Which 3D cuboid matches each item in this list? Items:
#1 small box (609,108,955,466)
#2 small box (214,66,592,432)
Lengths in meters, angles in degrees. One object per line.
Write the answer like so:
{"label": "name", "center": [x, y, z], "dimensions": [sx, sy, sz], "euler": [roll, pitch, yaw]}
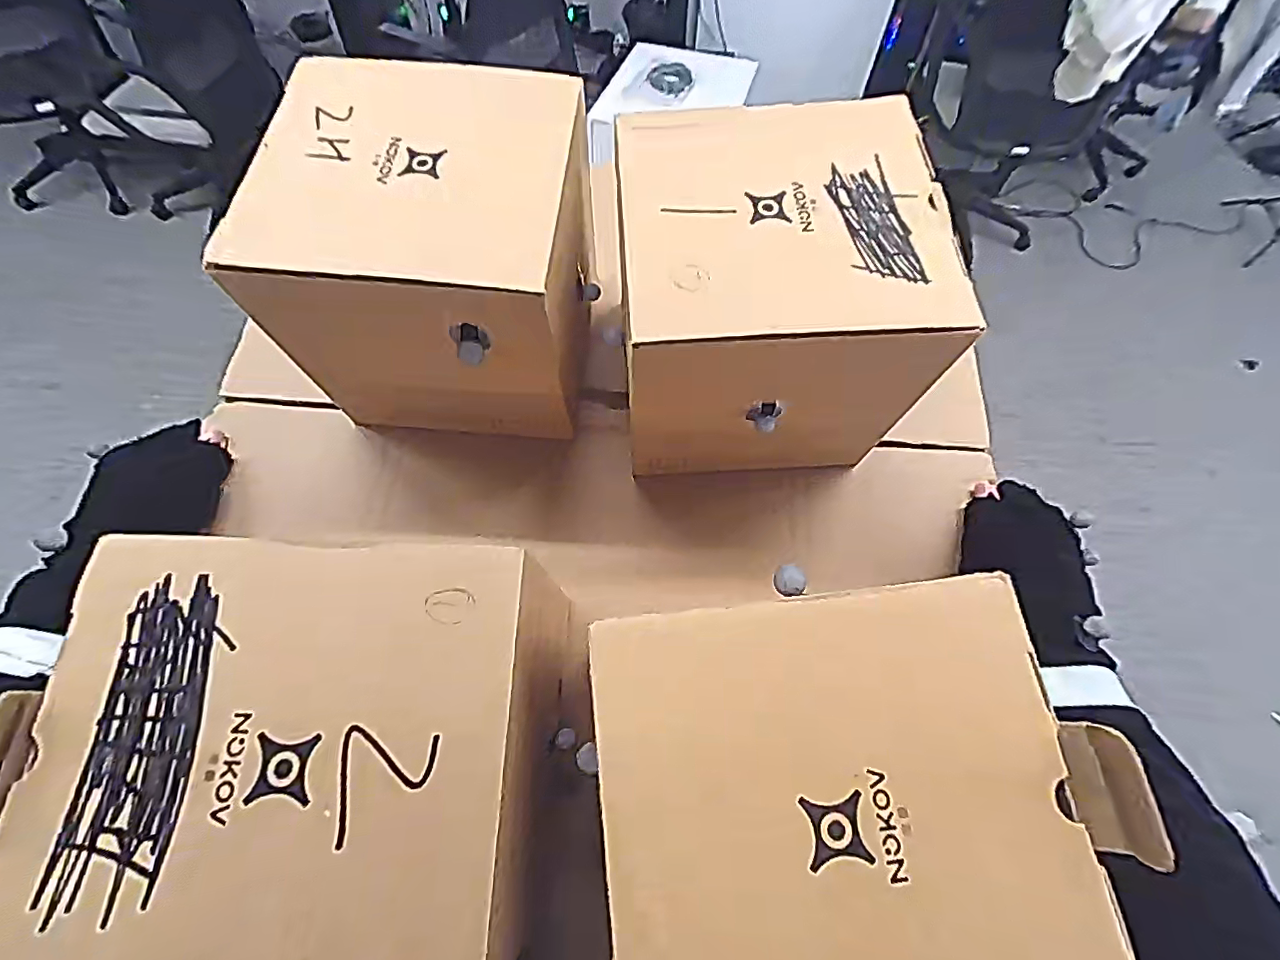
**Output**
{"label": "small box", "center": [0.071, -0.118, 0.375], "dimensions": [0.179, 0.176, 0.168], "euler": [-3, 68, -1]}
{"label": "small box", "center": [-0.131, -0.146, 0.385], "dimensions": [0.179, 0.176, 0.168], "euler": [5, 68, 1]}
